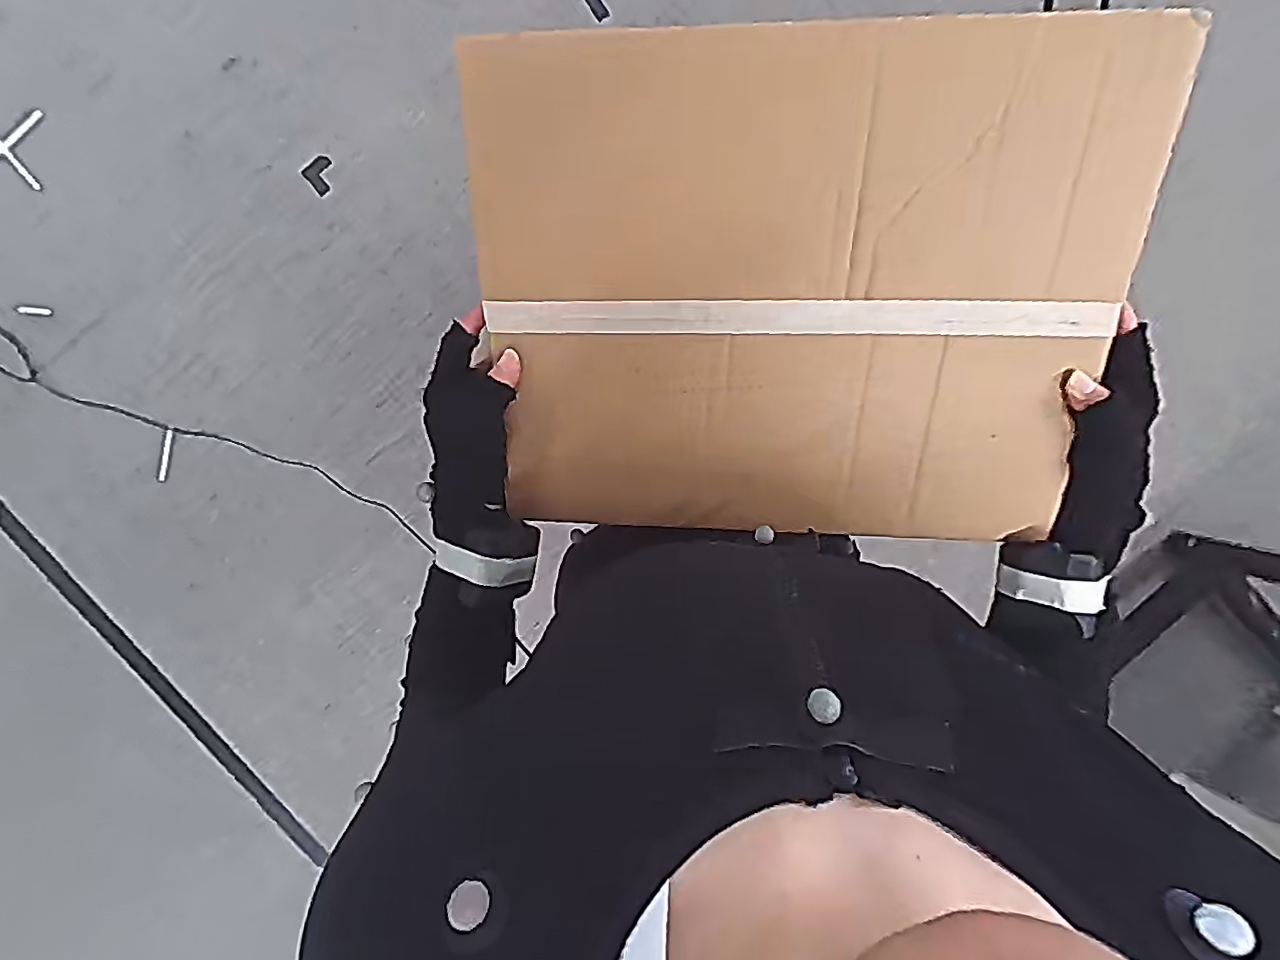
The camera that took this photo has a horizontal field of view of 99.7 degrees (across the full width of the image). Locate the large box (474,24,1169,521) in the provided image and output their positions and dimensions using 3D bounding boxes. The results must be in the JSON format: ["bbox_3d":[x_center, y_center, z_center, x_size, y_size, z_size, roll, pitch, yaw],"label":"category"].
[{"bbox_3d":[0.107,-0.170,0.506,0.408,0.320,0.320,2,114,4],"label":"large box"}]
